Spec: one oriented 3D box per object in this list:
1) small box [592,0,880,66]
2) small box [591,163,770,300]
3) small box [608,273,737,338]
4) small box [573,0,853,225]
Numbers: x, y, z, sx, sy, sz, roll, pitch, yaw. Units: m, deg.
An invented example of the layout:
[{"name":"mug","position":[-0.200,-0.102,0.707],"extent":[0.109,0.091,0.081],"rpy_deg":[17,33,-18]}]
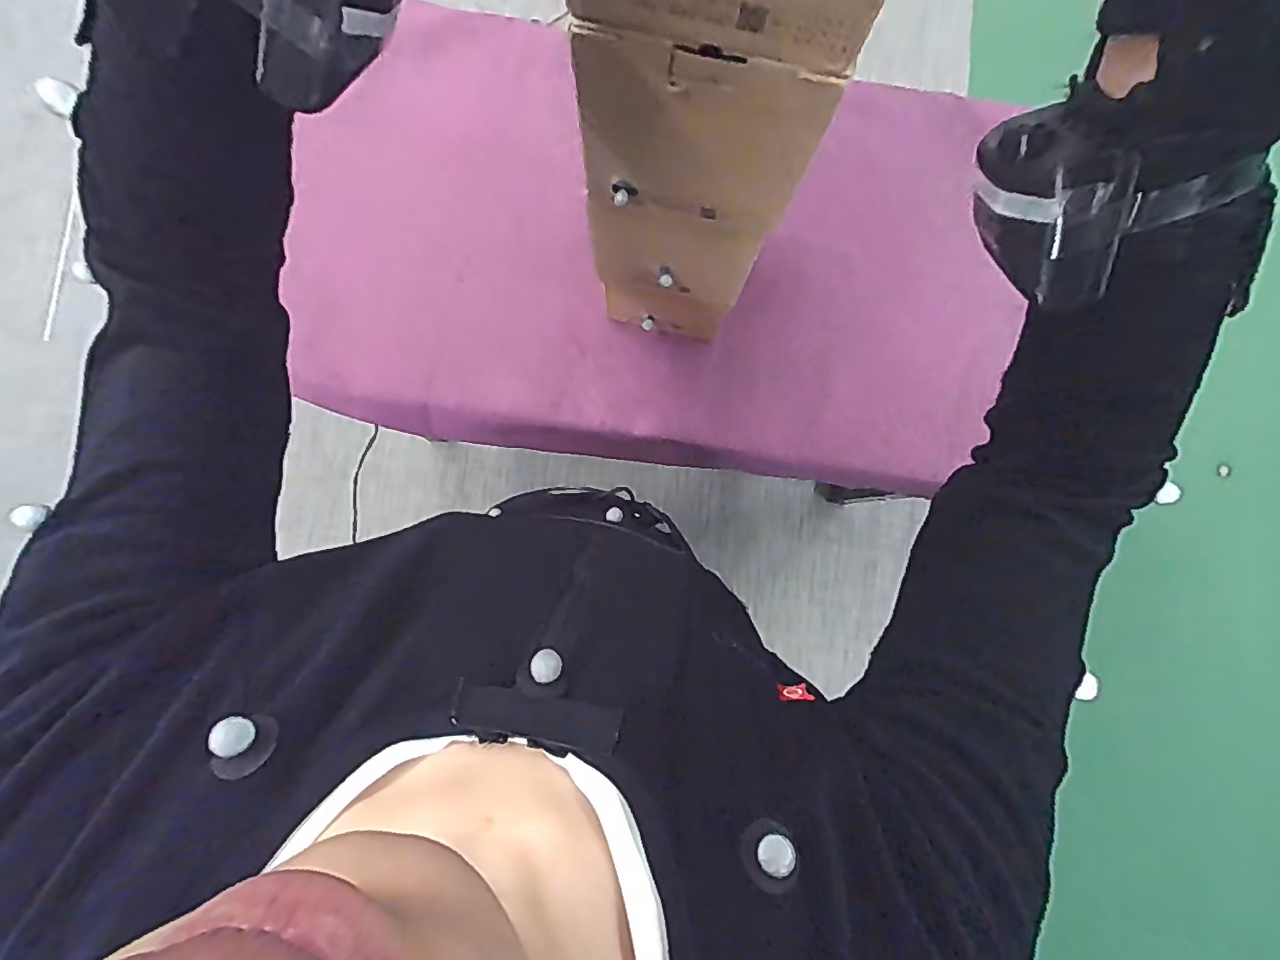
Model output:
[{"name":"small box","position":[0.061,-0.340,0.233],"extent":[0.168,0.176,0.179],"rpy_deg":[13,84,0]},{"name":"small box","position":[0.049,-0.315,0.560],"extent":[0.168,0.176,0.179],"rpy_deg":[11,85,0]},{"name":"small box","position":[0.052,-0.315,0.724],"extent":[0.168,0.176,0.179],"rpy_deg":[12,85,0]},{"name":"small box","position":[0.056,-0.320,0.396],"extent":[0.168,0.176,0.179],"rpy_deg":[11,84,0]}]
